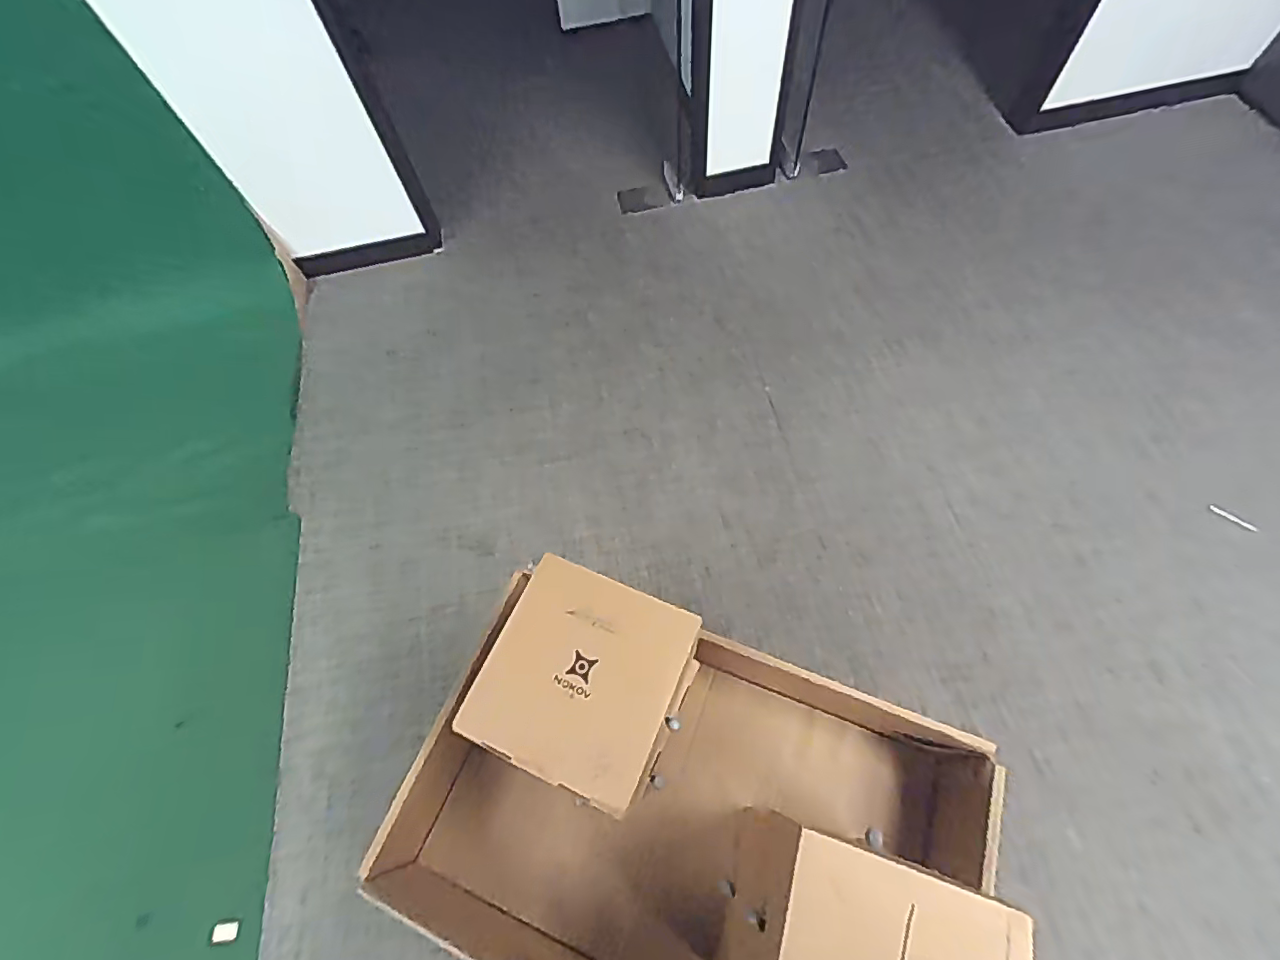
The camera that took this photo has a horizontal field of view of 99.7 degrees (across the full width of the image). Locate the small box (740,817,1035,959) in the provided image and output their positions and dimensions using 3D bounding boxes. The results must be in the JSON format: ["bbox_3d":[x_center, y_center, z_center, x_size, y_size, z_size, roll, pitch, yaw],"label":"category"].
[{"bbox_3d":[0.178,0.401,0.434,0.168,0.176,0.179,16,65,11],"label":"small box"}]

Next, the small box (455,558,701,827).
[{"bbox_3d":[-0.047,0.211,0.546,0.168,0.176,0.179,21,66,13],"label":"small box"}]
